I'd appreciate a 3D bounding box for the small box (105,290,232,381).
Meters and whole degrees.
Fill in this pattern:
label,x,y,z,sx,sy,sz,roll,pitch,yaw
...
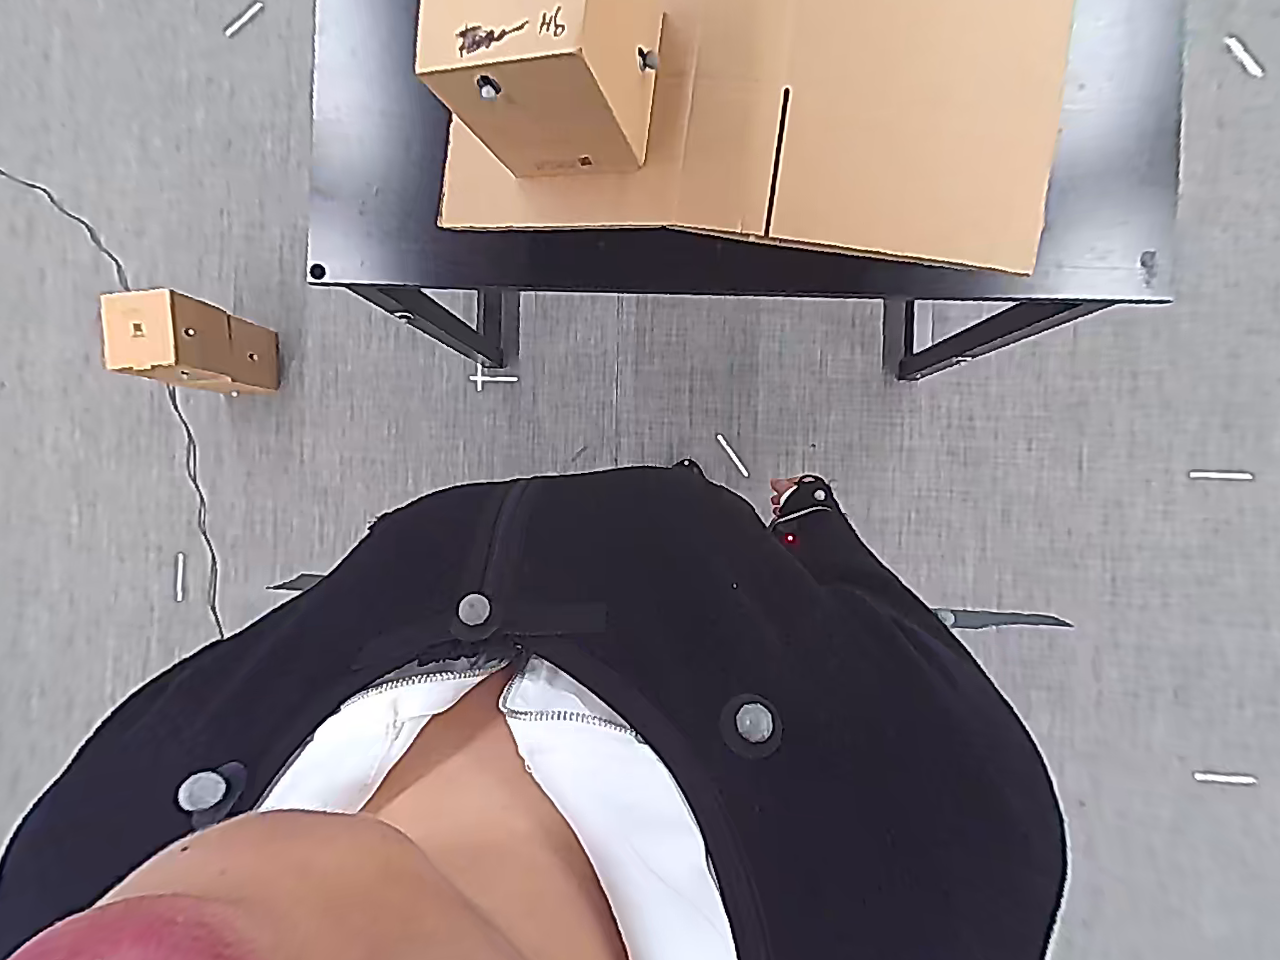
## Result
label,x,y,z,sx,sy,sz,roll,pitch,yaw
small box,-1.129,-0.341,1.309,0.168,0.176,0.179,-5,89,2

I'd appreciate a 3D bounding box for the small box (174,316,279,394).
label,x,y,z,sx,sy,sz,roll,pitch,yaw
small box,-1.120,-0.335,1.471,0.168,0.176,0.179,-2,91,3

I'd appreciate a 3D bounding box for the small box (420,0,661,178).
label,x,y,z,sx,sy,sz,roll,pitch,yaw
small box,-0.084,-0.435,0.536,0.168,0.176,0.179,7,90,19
